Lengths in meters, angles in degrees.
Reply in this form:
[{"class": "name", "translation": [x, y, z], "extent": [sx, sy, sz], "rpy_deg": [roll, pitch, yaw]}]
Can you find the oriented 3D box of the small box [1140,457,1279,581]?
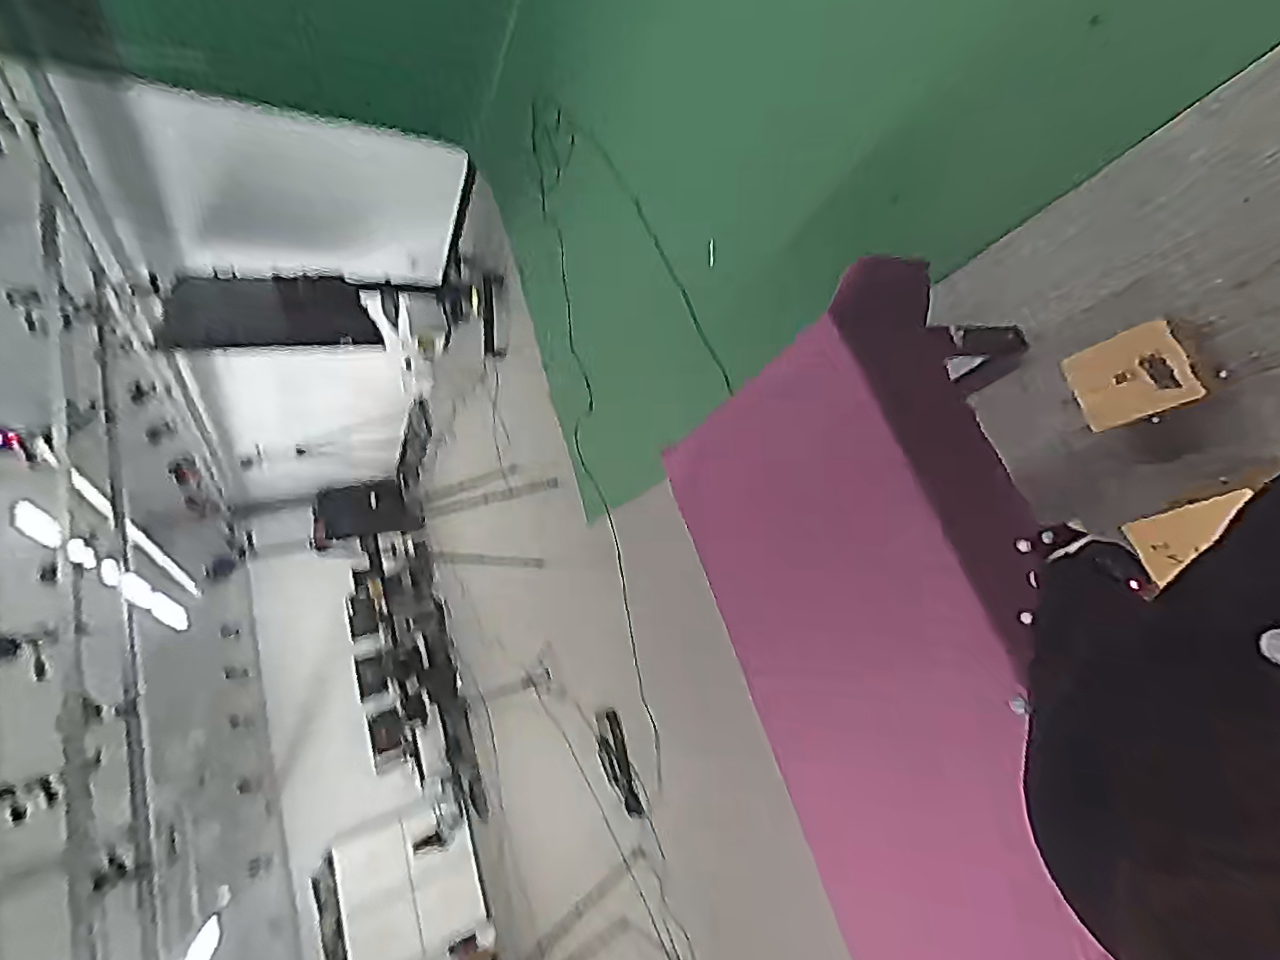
[{"class": "small box", "translation": [1.122, 0.072, 1.027], "extent": [0.168, 0.176, 0.179], "rpy_deg": [-40, 64, 54]}]
